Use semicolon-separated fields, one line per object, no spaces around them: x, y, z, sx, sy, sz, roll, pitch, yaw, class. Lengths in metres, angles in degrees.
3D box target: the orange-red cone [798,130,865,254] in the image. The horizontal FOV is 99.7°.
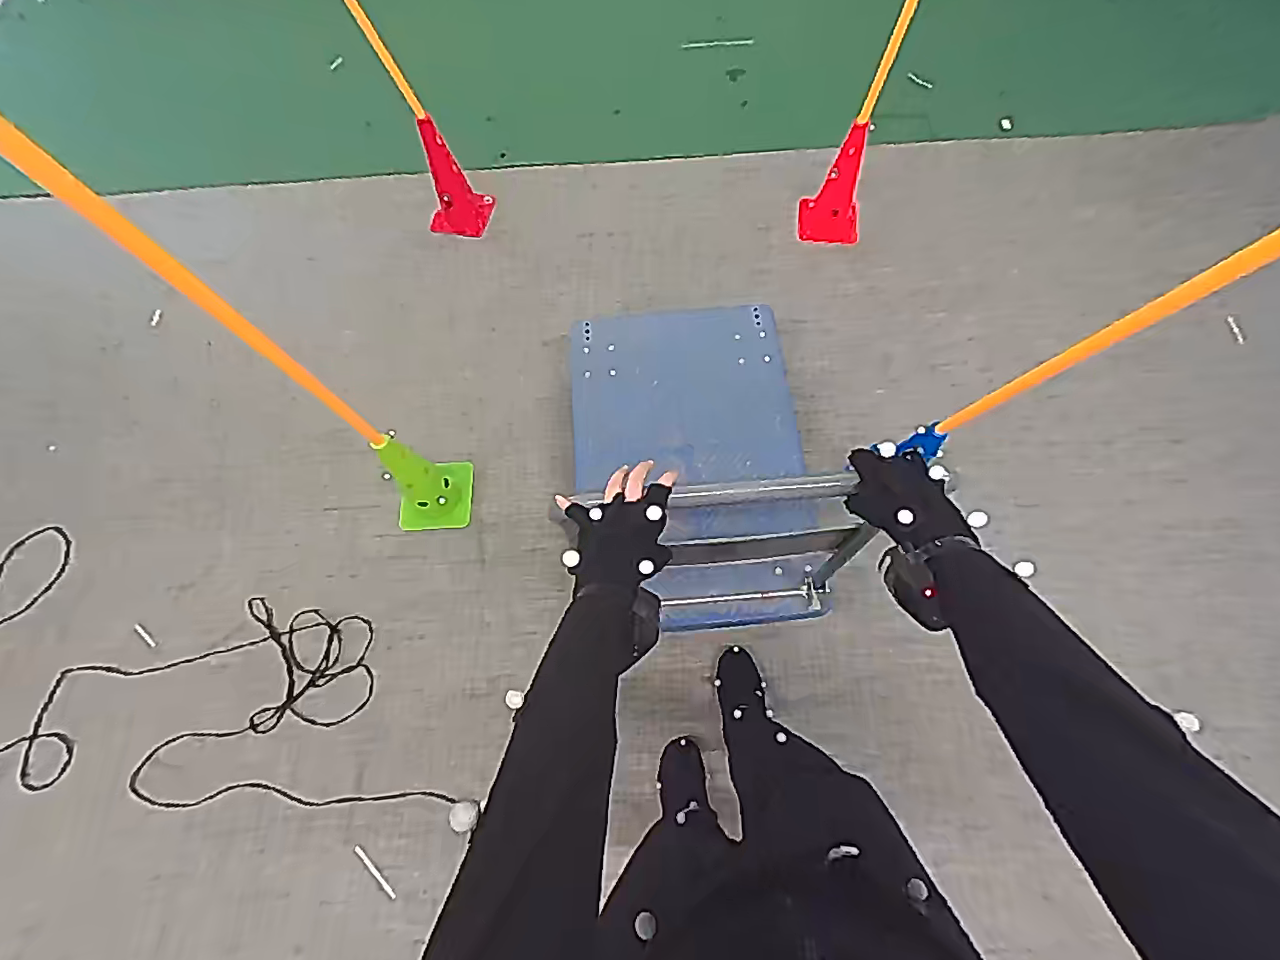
0.644;-0.931;1.723;0.198;0.360;0.199;8;69;6;orange-red cone
